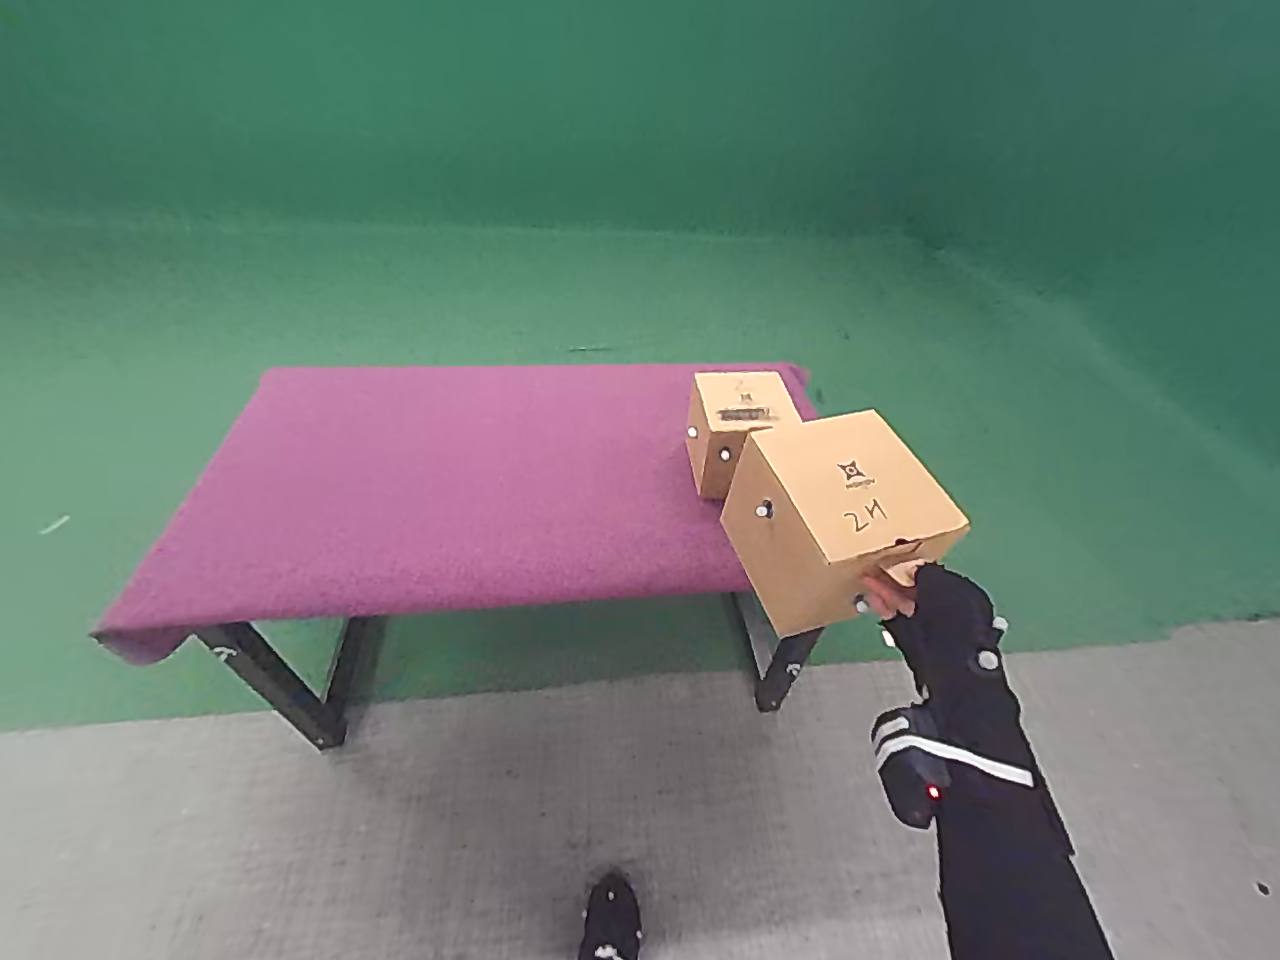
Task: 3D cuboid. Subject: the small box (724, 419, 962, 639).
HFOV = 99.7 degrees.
[{"bbox_3d":[0.214,0.057,0.629,0.168,0.176,0.179,-11,53,-14],"label":"small box"}]
